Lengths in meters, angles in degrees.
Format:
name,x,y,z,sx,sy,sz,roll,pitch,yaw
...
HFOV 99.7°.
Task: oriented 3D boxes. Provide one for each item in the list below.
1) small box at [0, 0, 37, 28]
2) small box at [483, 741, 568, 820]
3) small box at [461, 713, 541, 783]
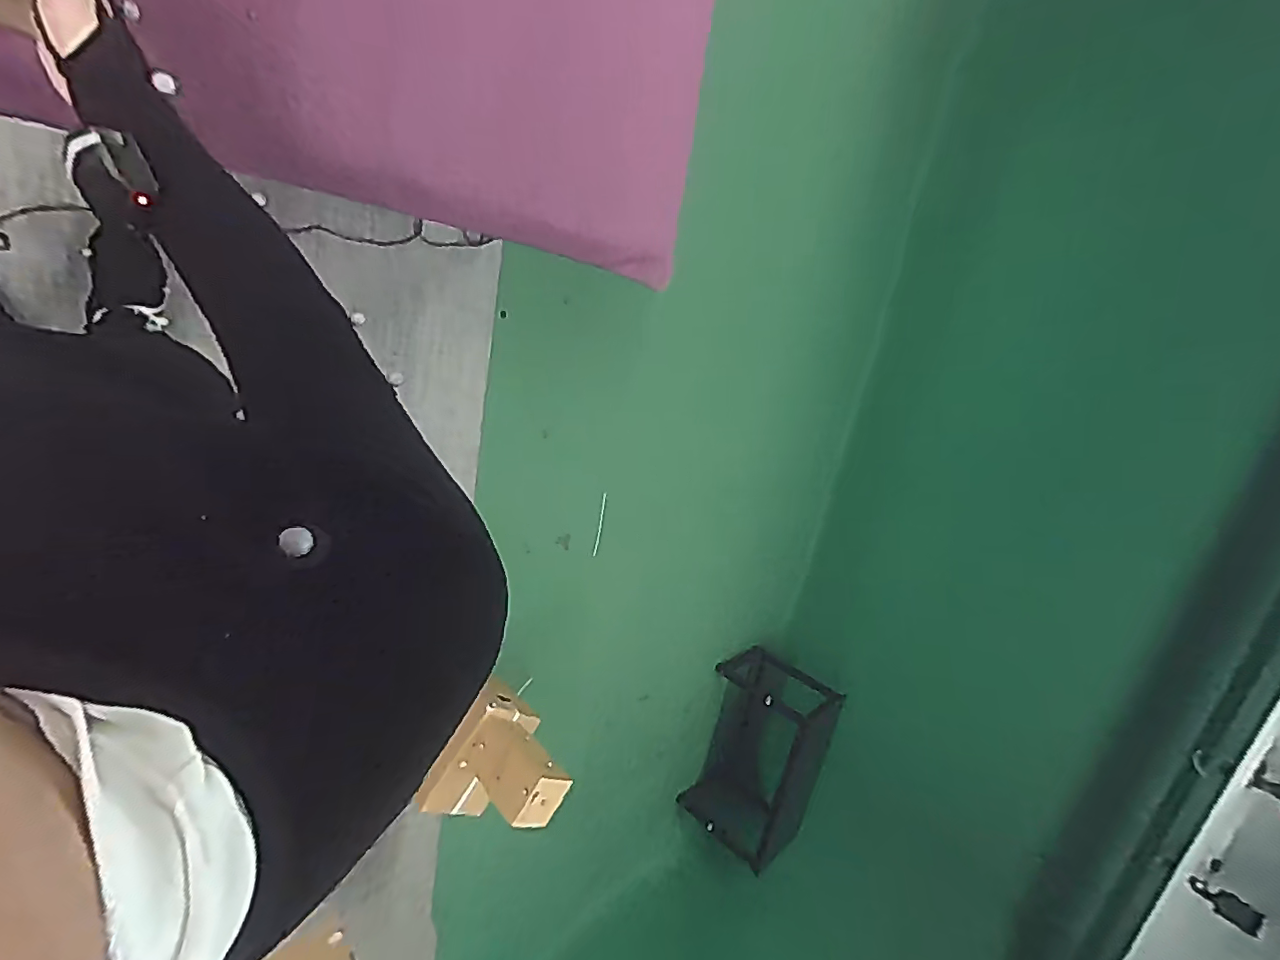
name,x,y,z,sx,sy,sz,roll,pitch,yaw
small box,-0.580,-0.492,0.406,0.168,0.176,0.179,-5,110,-48
small box,-0.381,0.997,1.798,0.168,0.176,0.179,-57,140,-11
small box,-0.492,0.950,1.910,0.168,0.176,0.179,-57,139,-11
